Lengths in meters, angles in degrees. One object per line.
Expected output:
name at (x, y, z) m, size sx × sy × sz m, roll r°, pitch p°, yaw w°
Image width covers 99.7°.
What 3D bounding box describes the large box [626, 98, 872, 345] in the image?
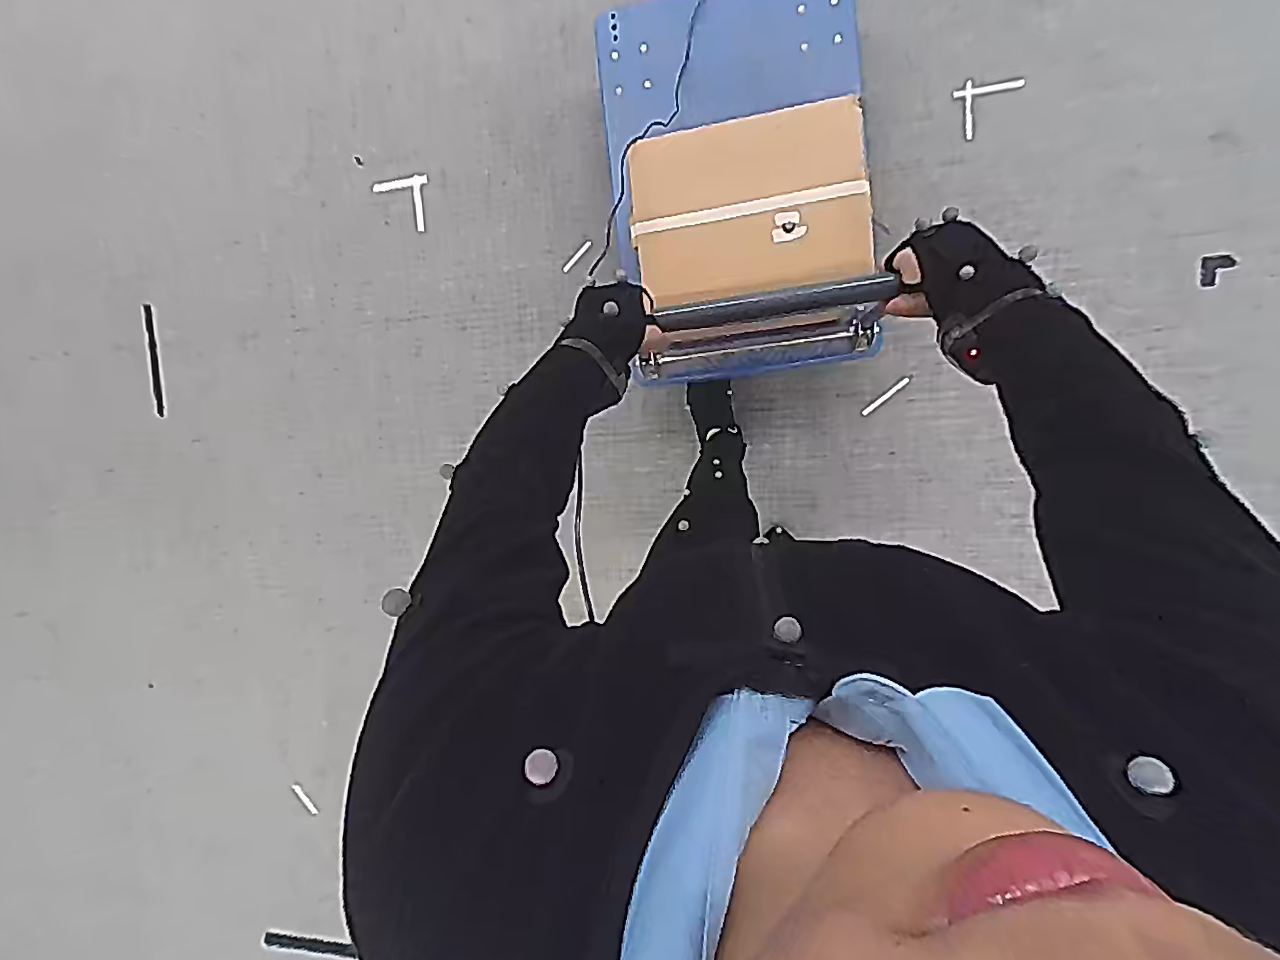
large box at (0.209, -0.481, 1.096) m, size 0.408 × 0.320 × 0.320 m, roll -6°, pitch 94°, yaw 10°
